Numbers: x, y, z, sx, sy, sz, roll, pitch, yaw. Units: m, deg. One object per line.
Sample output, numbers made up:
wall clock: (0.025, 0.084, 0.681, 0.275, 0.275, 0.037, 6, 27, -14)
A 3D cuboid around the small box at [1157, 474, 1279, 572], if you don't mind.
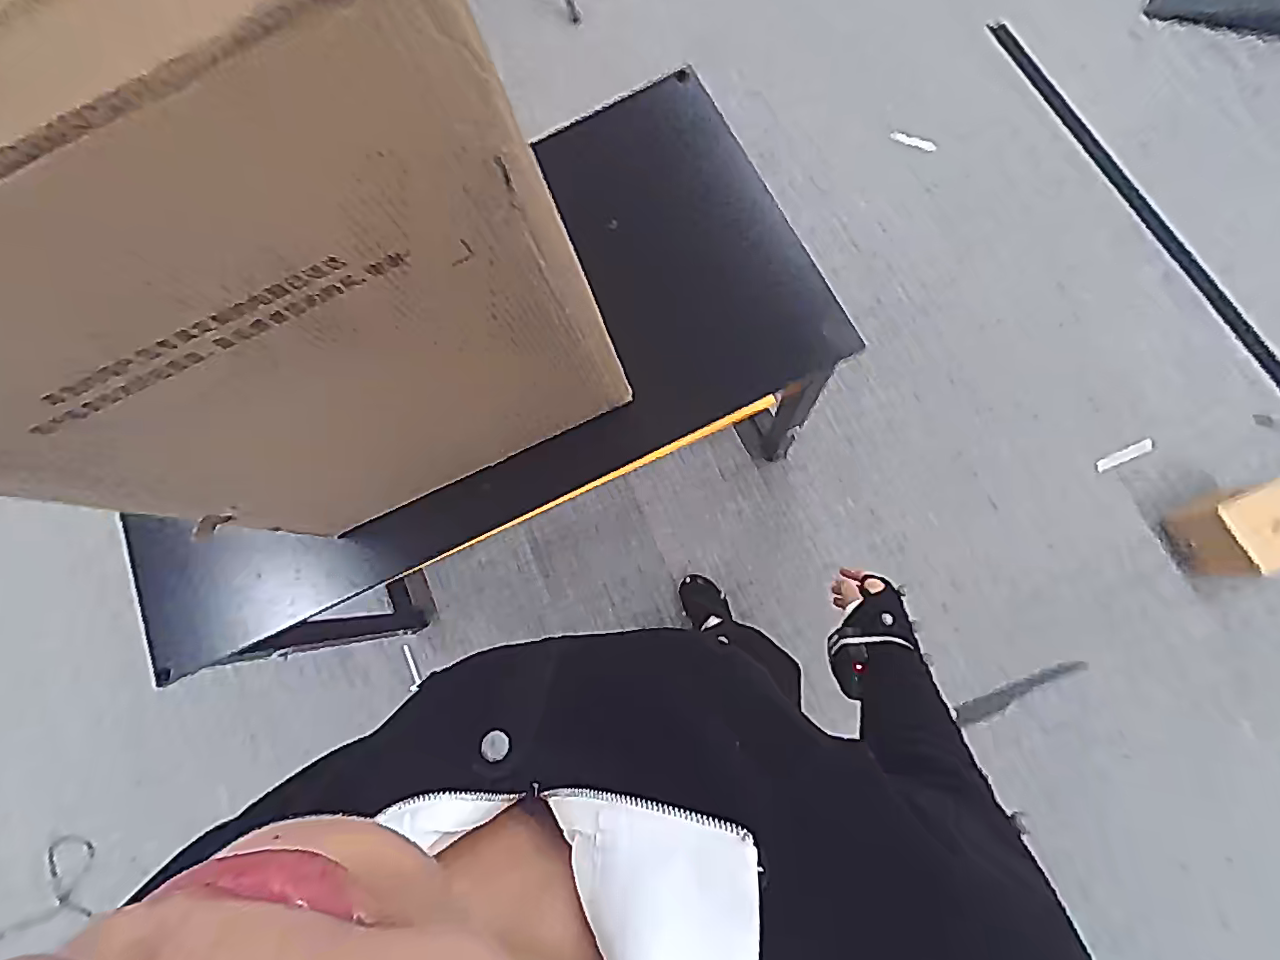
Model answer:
small box: (1.407, 0.107, 1.278, 0.179, 0.176, 0.168, -27, 76, 2)
